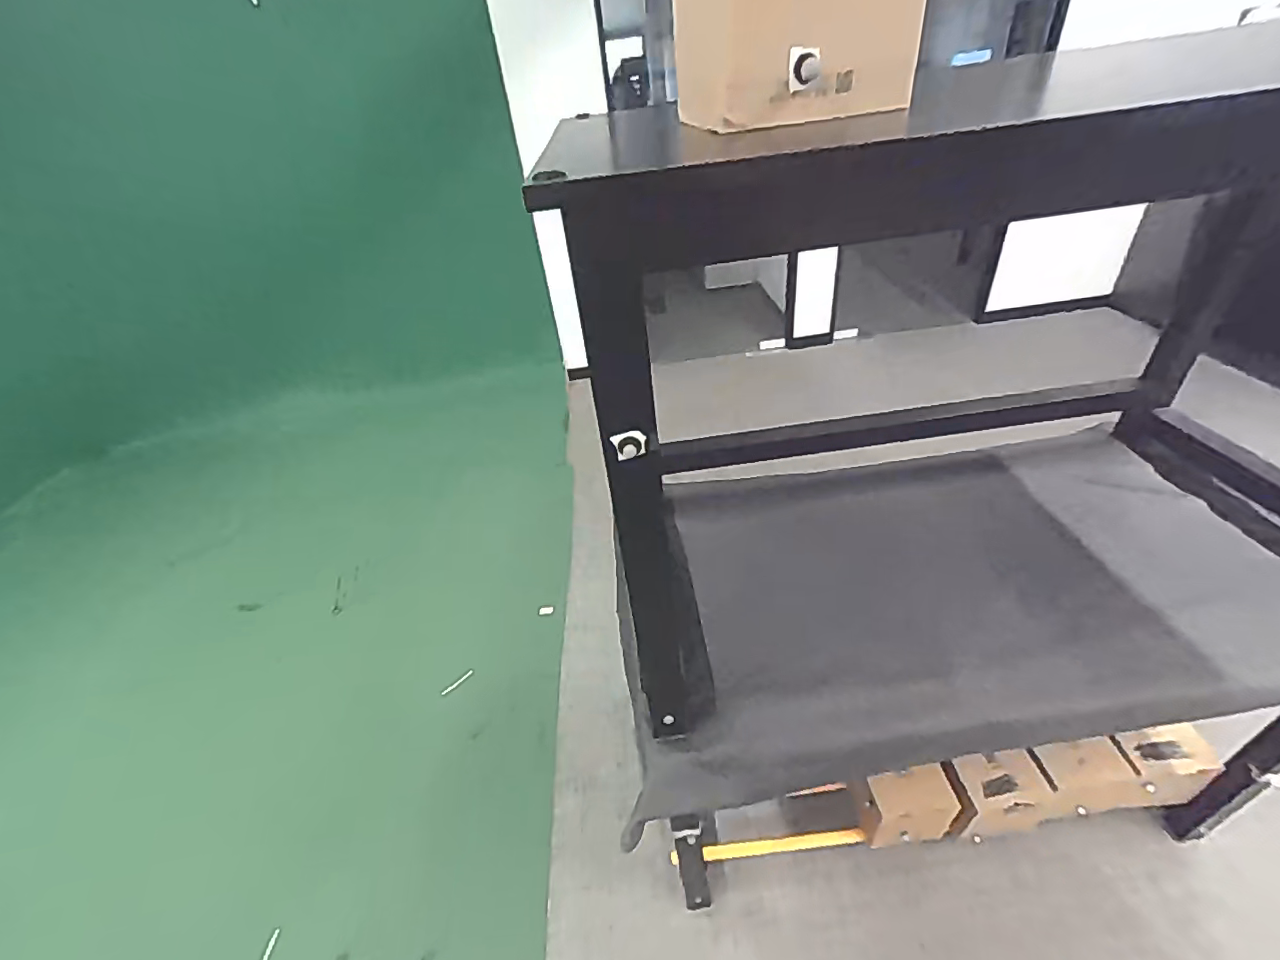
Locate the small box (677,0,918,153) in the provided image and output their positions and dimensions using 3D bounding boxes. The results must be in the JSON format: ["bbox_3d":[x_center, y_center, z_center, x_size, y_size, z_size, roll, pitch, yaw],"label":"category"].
[{"bbox_3d":[0.128,-0.406,0.488,0.168,0.176,0.179,-11,37,-2],"label":"small box"}]
